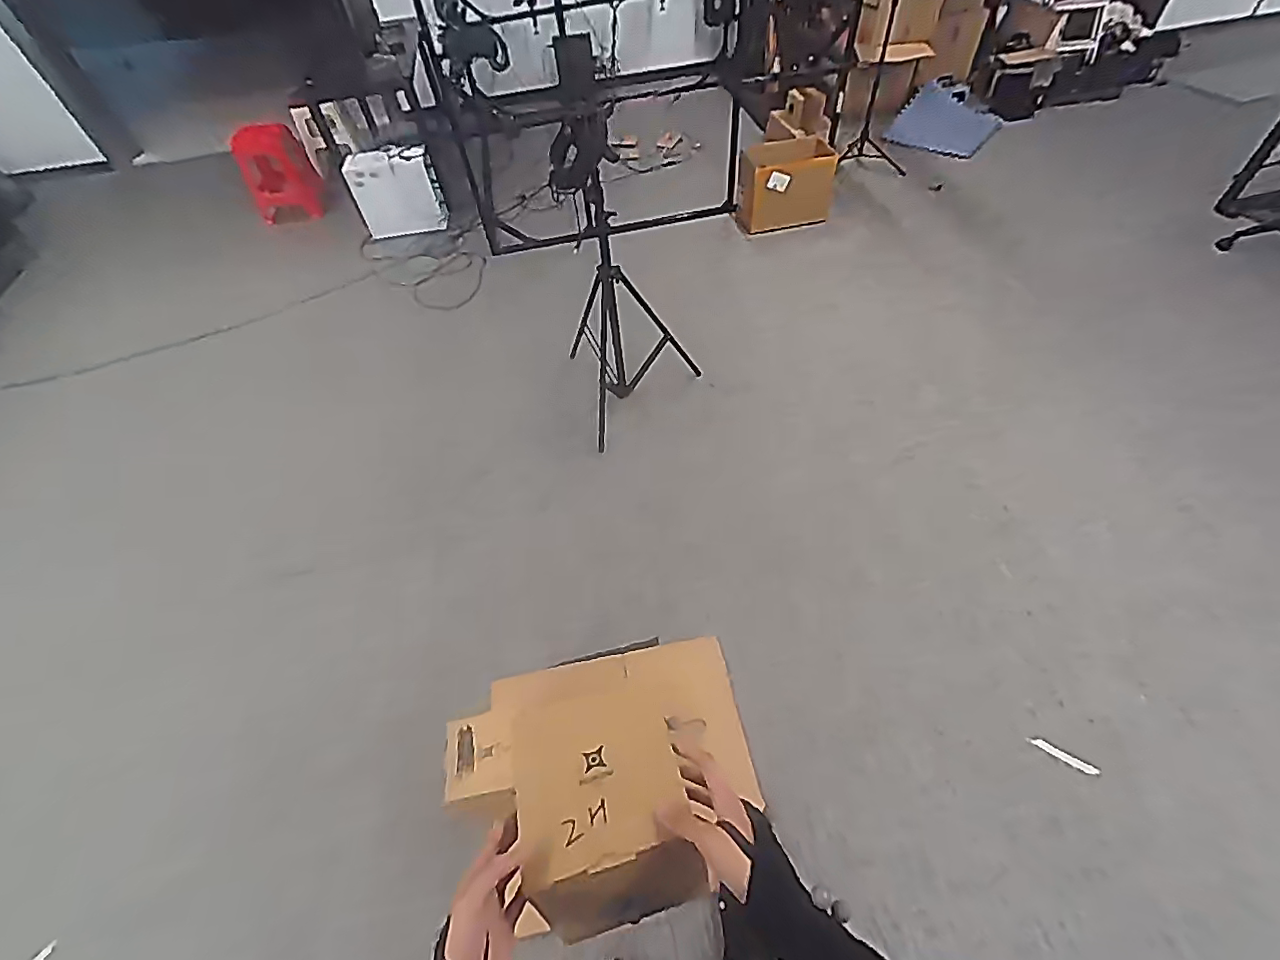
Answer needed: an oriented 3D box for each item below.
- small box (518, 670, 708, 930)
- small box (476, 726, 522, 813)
[{"bbox_3d":[-0.031,0.353,0.605,0.168,0.176,0.179,-15,37,-6],"label":"small box"},{"bbox_3d":[-0.309,0.740,1.391,0.179,0.176,0.168,-12,53,-2],"label":"small box"}]
